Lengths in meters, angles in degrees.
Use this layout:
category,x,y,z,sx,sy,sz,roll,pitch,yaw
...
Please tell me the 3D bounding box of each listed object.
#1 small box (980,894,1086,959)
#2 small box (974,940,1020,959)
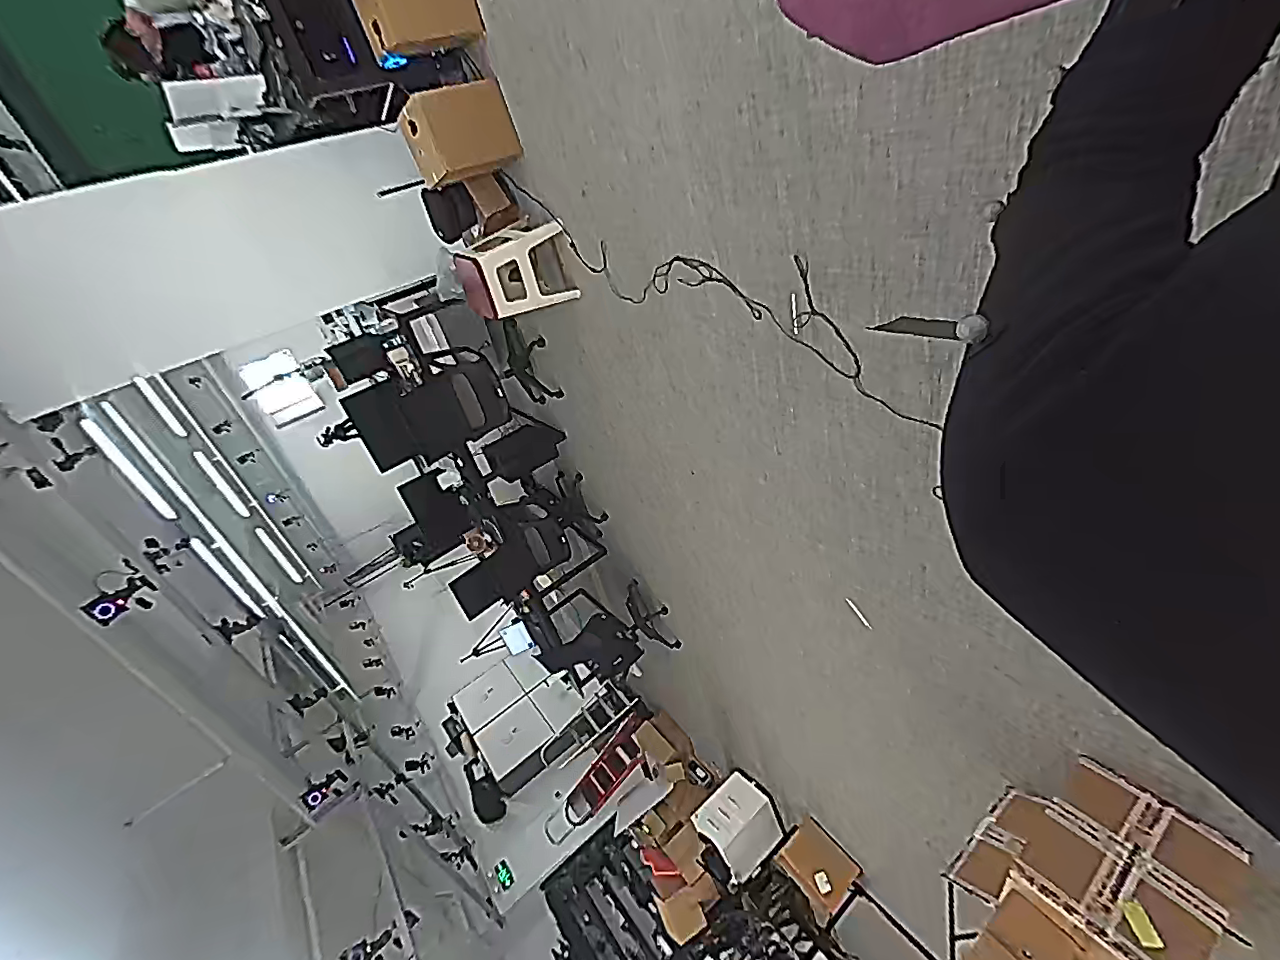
category,x,y,z,sx,sy,sz,roll,pitch,yaw
small box,1.119,1.343,1.542,0.179,0.176,0.168,36,147,45
small box,0.985,1.399,1.461,0.179,0.176,0.168,33,145,47
